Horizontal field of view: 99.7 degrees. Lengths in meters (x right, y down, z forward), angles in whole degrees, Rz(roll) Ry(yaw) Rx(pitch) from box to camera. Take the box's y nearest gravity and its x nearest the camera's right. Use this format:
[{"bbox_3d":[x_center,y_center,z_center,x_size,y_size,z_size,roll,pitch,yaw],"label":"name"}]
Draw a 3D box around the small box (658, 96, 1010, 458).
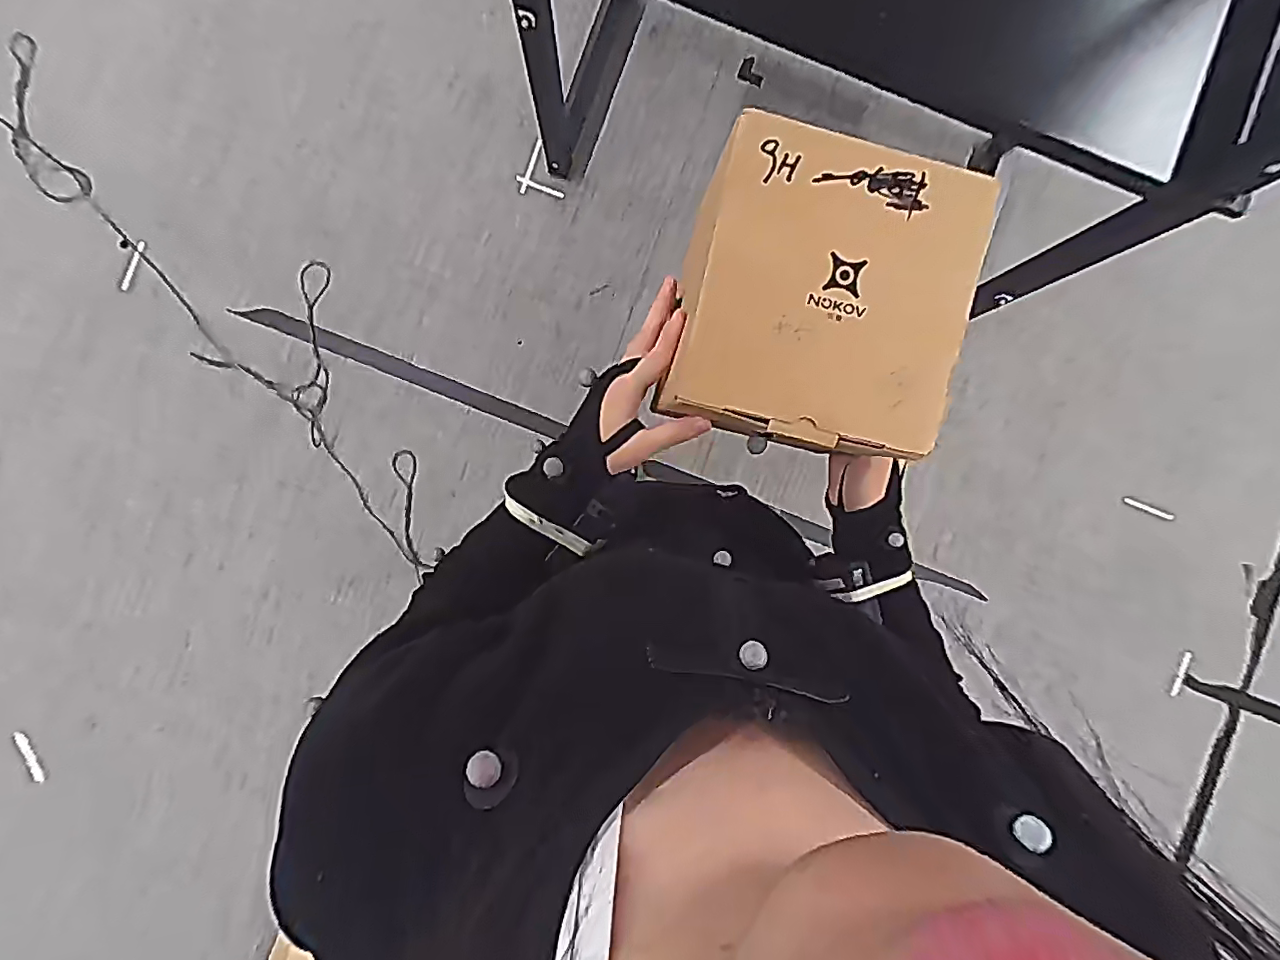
[{"bbox_3d":[0.114,-0.123,0.396,0.168,0.176,0.179,12,95,-6],"label":"small box"}]
